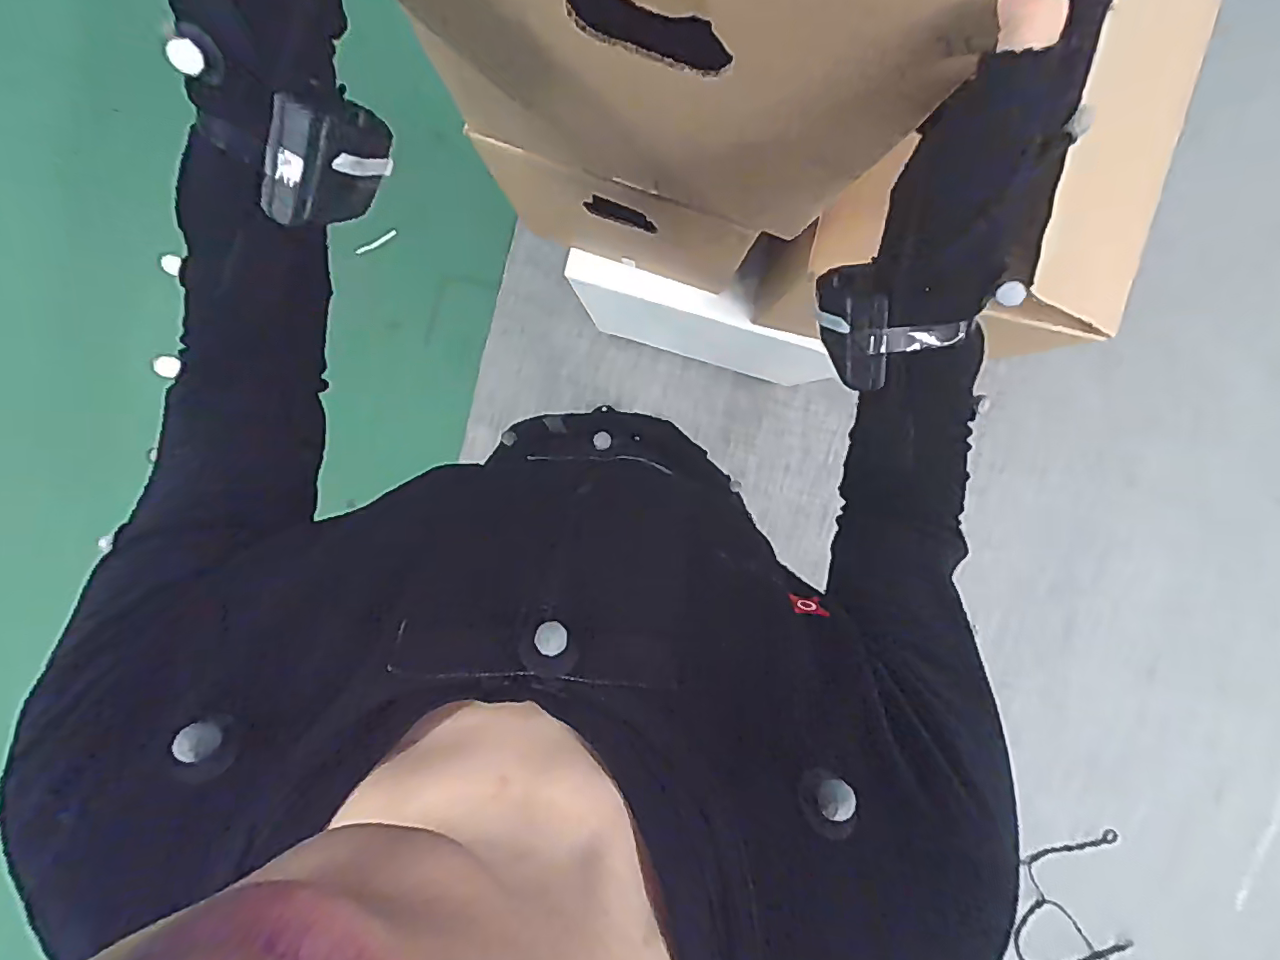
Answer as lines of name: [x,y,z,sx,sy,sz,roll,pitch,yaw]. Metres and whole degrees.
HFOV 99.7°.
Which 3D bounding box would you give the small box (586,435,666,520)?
small box: [-0.045,-0.010,1.421,0.168,0.176,0.179,10,100,-13]
